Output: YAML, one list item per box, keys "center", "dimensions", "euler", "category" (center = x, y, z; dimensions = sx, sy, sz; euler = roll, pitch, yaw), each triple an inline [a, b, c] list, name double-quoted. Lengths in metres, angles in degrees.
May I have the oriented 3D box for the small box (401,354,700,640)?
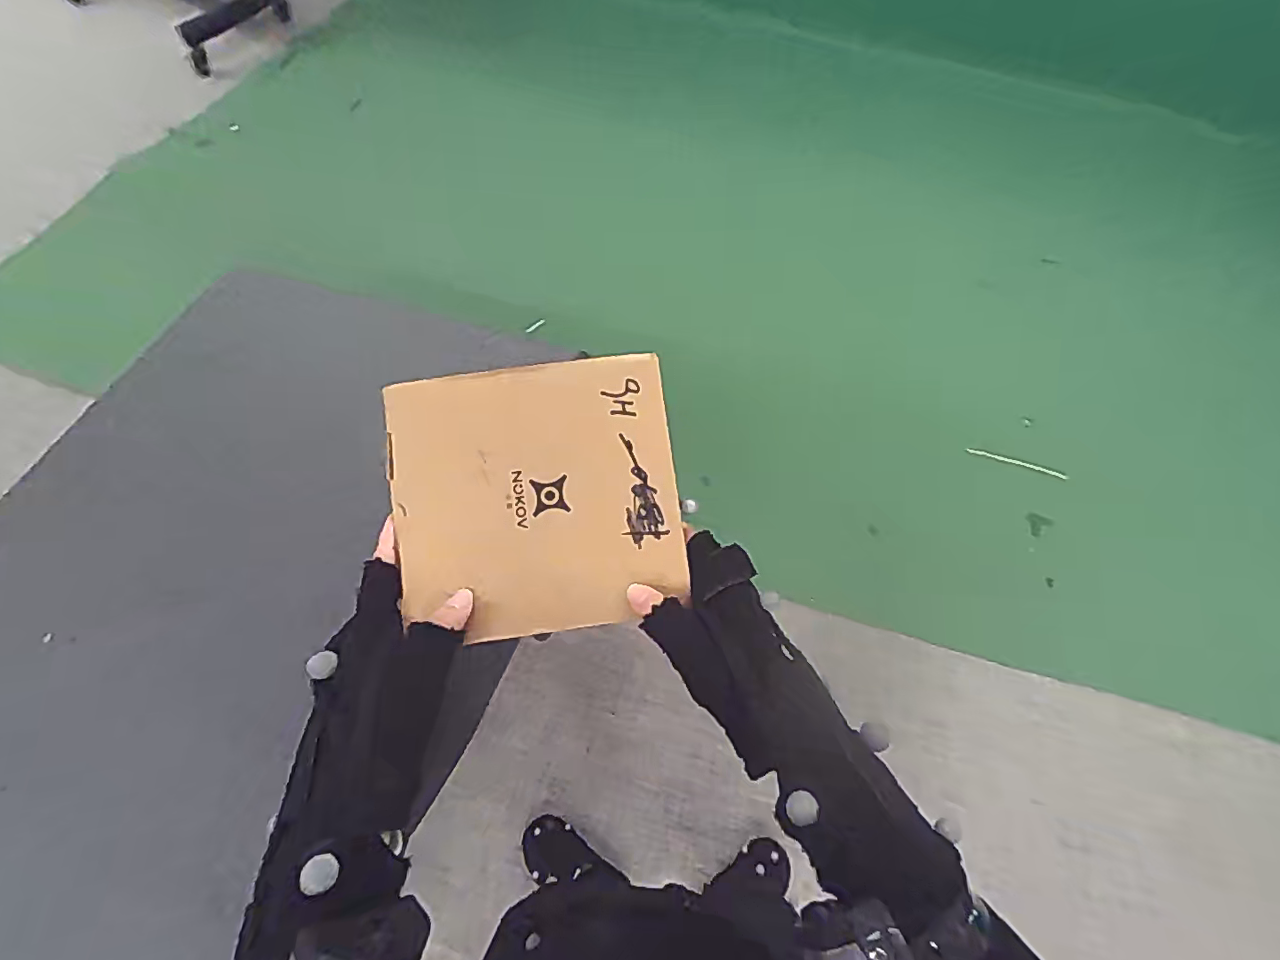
- center: [-0.060, 0.021, 0.422]
  dimensions: [0.179, 0.176, 0.168]
  euler: [-9, 81, -3]
  category: "small box"
